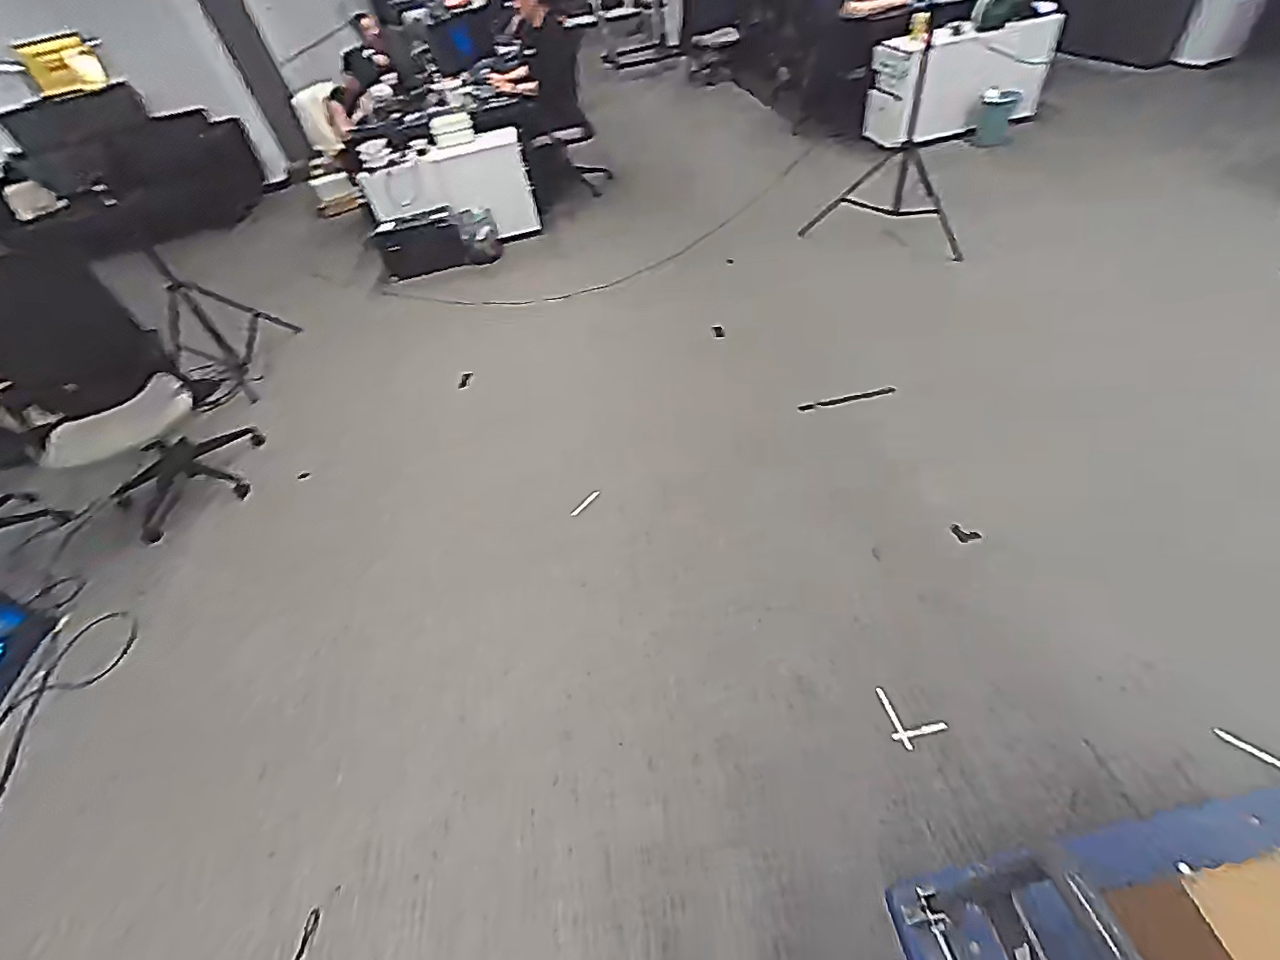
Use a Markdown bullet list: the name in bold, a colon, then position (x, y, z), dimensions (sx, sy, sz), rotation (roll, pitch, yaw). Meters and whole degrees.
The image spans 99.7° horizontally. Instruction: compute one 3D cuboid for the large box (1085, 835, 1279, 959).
- **large box**: position (0.931, 0.733, 0.708), dimensions (0.320, 0.320, 0.408), rotation (-13, 45, -1)
